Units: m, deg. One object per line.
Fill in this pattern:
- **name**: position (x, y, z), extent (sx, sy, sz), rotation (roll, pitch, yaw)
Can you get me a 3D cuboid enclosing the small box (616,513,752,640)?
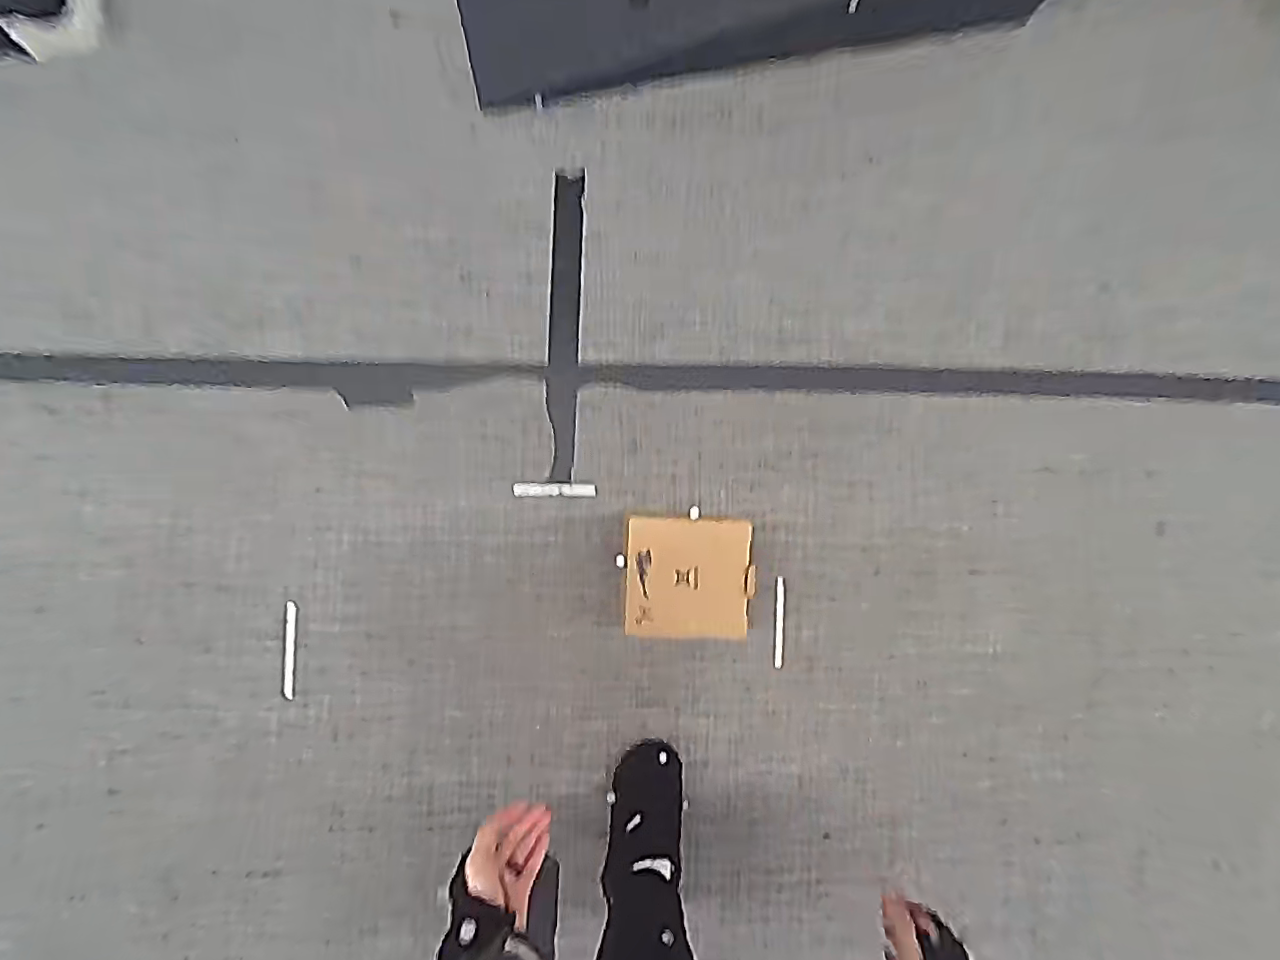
- **small box**: position (0.059, 0.138, 0.827), extent (0.179, 0.176, 0.168), rotation (3, 89, -5)
